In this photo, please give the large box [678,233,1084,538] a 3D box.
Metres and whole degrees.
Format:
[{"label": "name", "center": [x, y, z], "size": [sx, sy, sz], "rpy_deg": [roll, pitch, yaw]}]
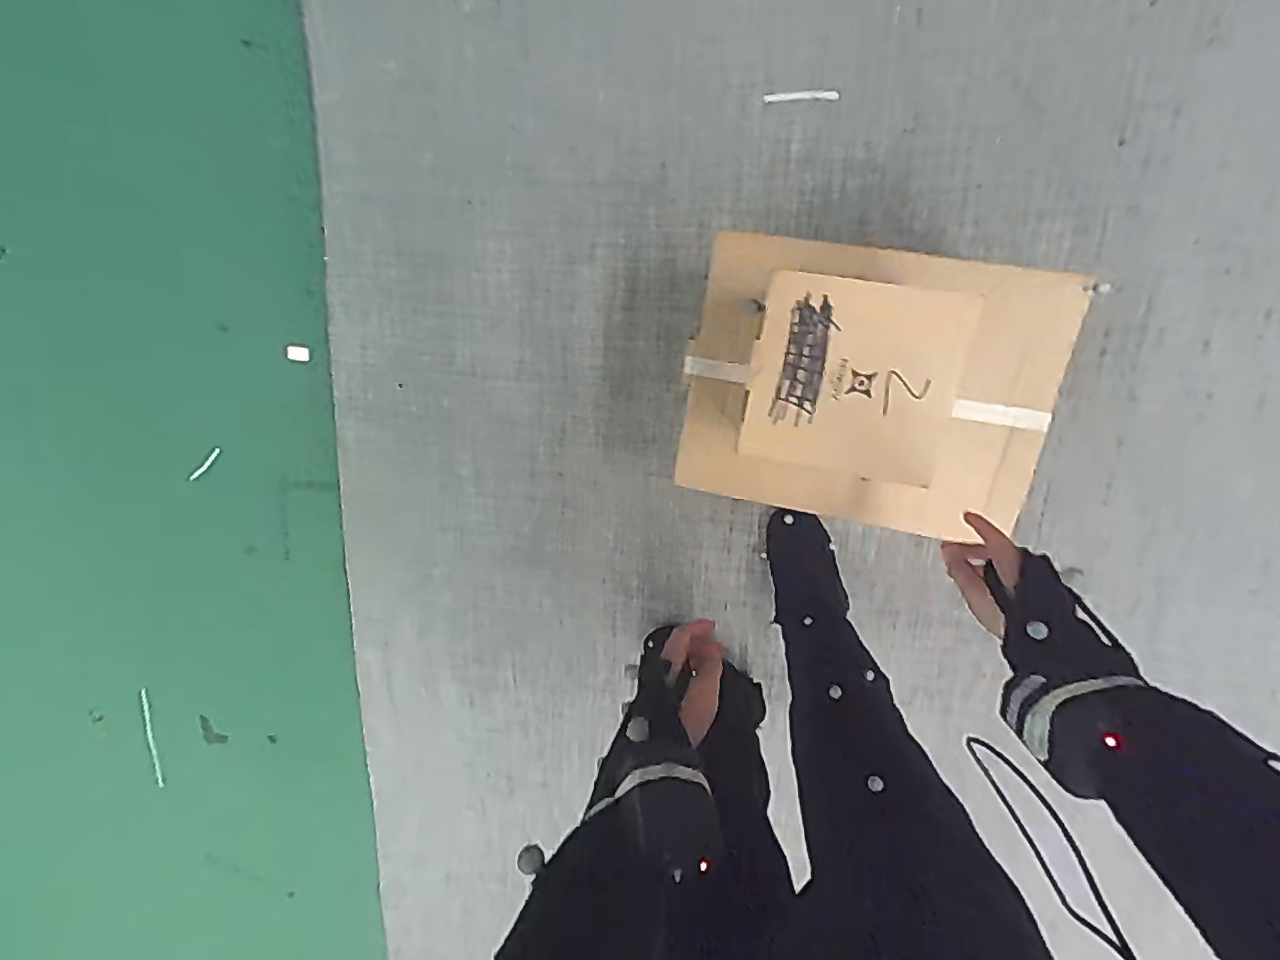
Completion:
[{"label": "large box", "center": [0.285, -0.140, 0.779], "size": [0.408, 0.320, 0.320], "rpy_deg": [11, 105, 8]}]
